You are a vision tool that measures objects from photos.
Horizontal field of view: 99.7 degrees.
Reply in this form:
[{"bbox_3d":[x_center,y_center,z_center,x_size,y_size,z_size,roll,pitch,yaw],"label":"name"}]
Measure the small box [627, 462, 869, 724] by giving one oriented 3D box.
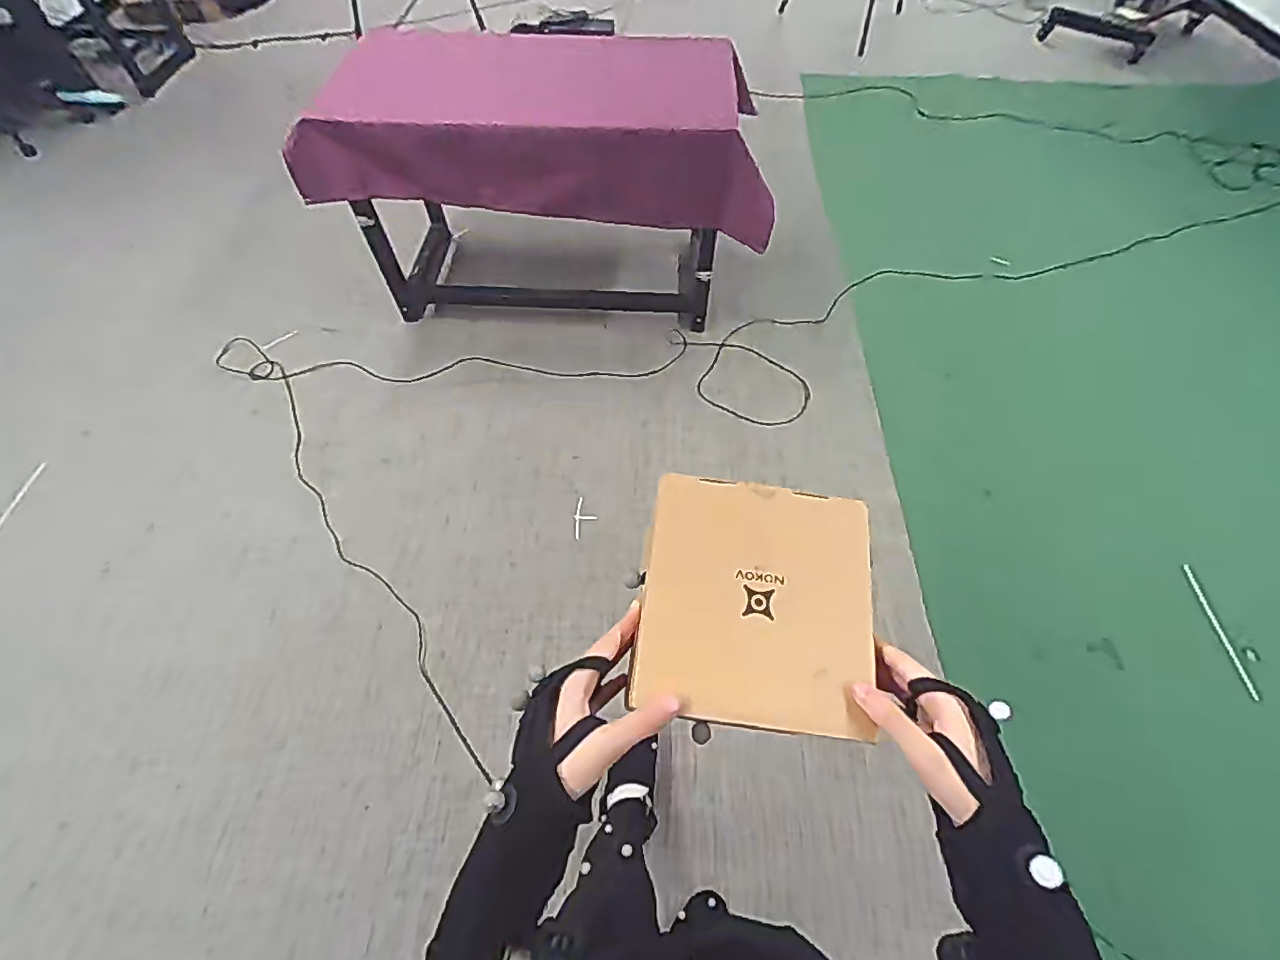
[{"bbox_3d":[0.080,0.107,0.469,0.168,0.176,0.179,8,65,0],"label":"small box"}]
